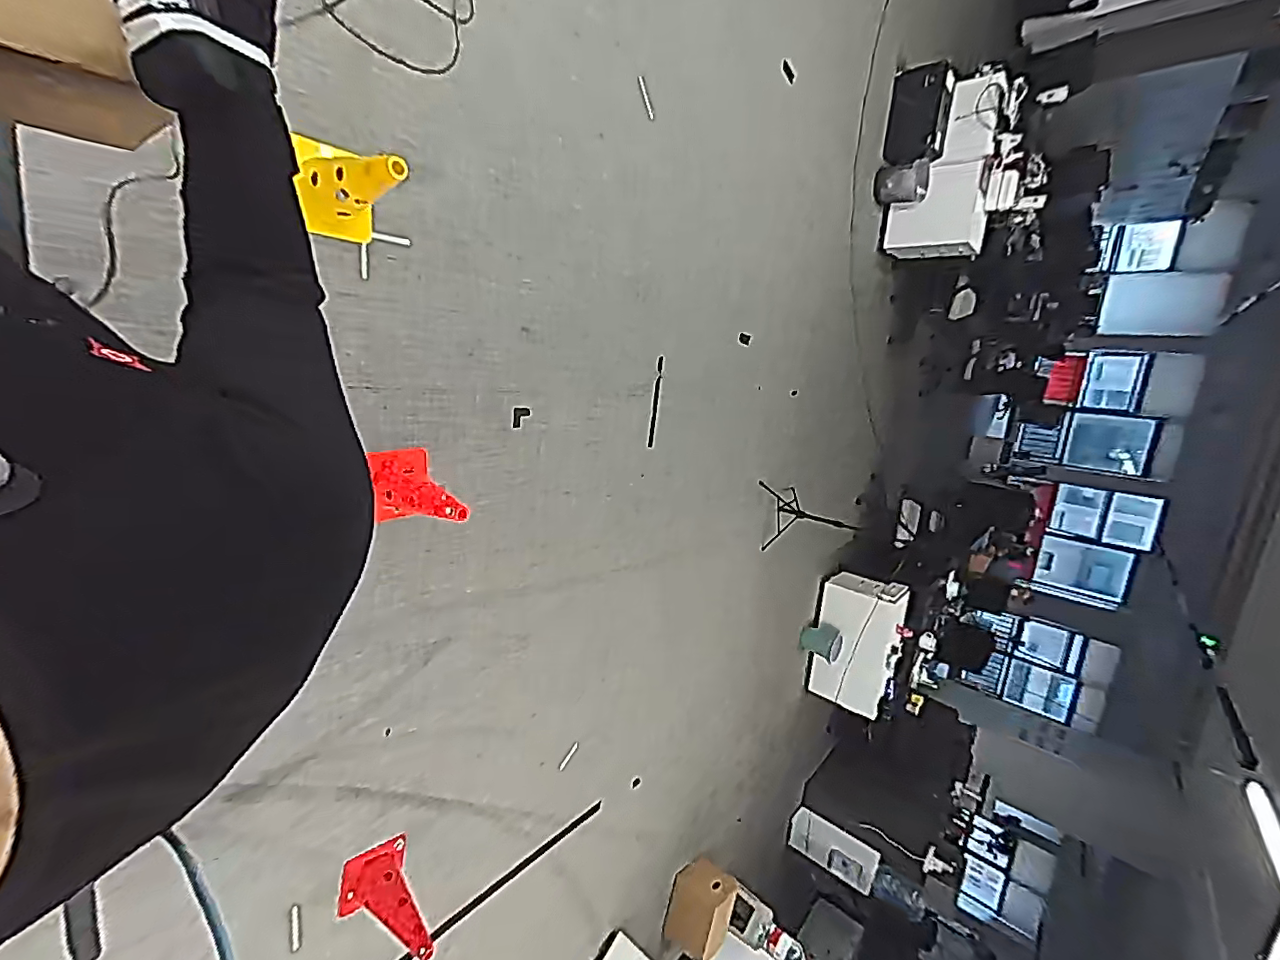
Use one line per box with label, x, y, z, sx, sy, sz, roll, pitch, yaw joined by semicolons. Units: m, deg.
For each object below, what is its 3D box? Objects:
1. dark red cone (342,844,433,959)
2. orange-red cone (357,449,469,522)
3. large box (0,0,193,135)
dark red cone;-0.724;1.324;1.625;0.201;0.394;0.202;1;100;-49
orange-red cone;-0.573;0.046;1.438;0.198;0.360;0.199;-12;109;-49
large box;-0.565;-0.452;0.312;0.408;0.320;0.320;-12;114;-48
